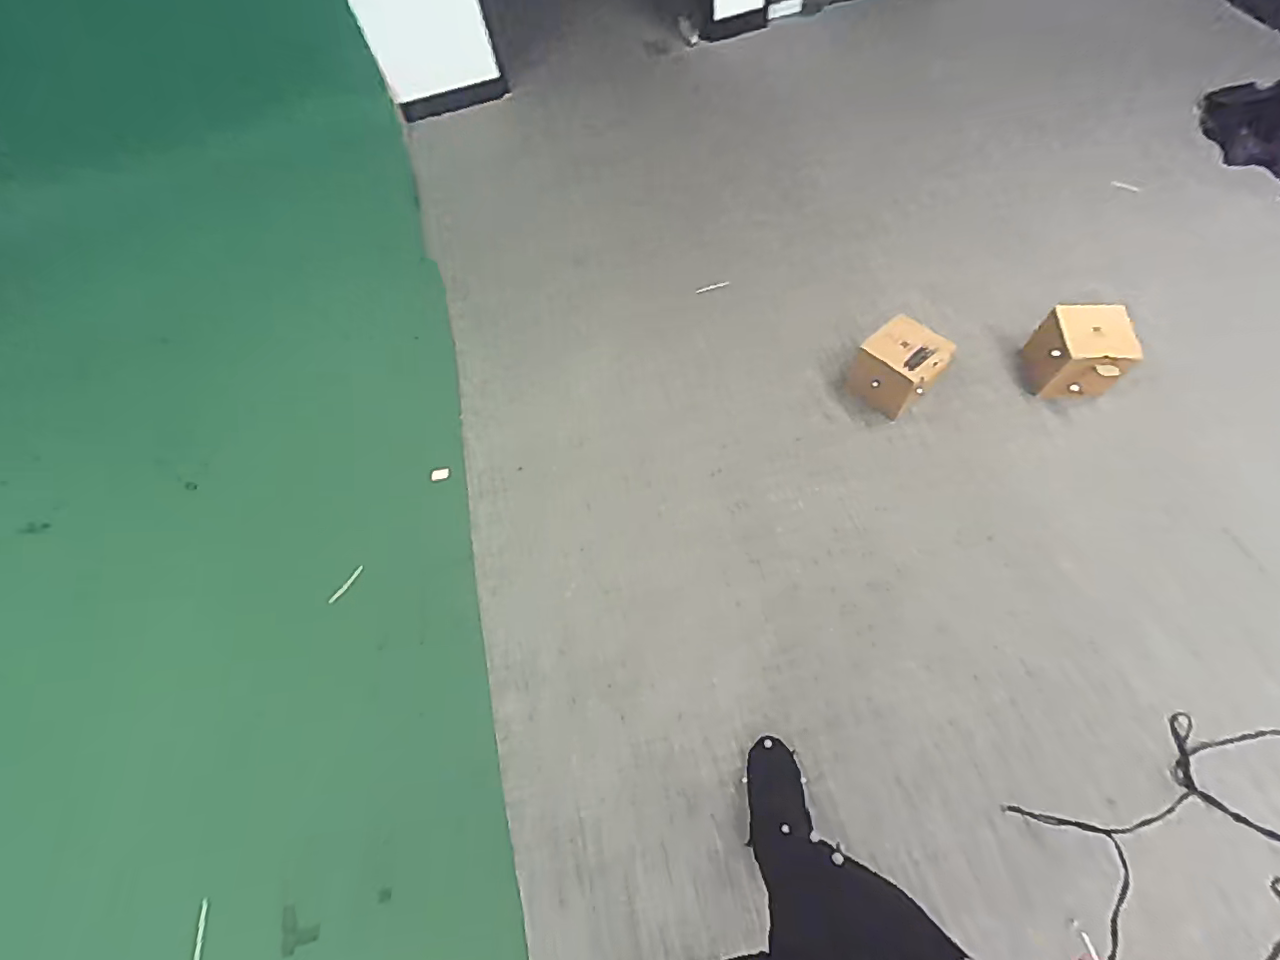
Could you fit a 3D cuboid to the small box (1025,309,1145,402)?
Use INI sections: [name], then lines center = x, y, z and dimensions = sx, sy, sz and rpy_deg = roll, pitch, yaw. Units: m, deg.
[small box]
center = 1.154, -0.326, 1.422
dimensions = 0.168, 0.176, 0.179
rpy_deg = 2, 63, 7
